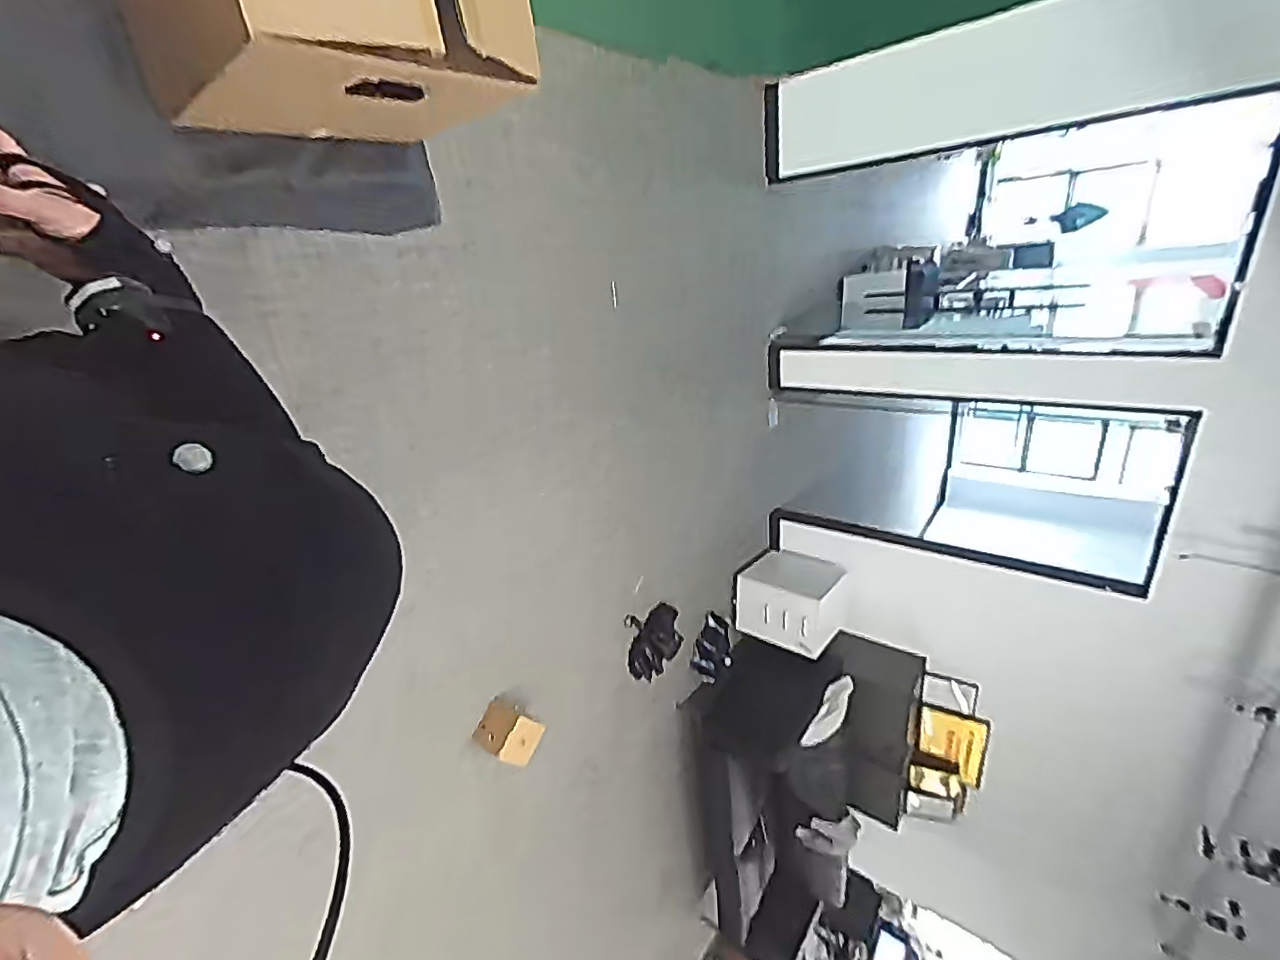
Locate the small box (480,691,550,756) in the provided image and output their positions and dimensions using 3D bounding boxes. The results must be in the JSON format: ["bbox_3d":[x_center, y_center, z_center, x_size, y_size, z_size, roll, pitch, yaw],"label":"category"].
[{"bbox_3d":[-0.495,0.953,2.127,0.168,0.176,0.179,-62,141,-19],"label":"small box"}]
